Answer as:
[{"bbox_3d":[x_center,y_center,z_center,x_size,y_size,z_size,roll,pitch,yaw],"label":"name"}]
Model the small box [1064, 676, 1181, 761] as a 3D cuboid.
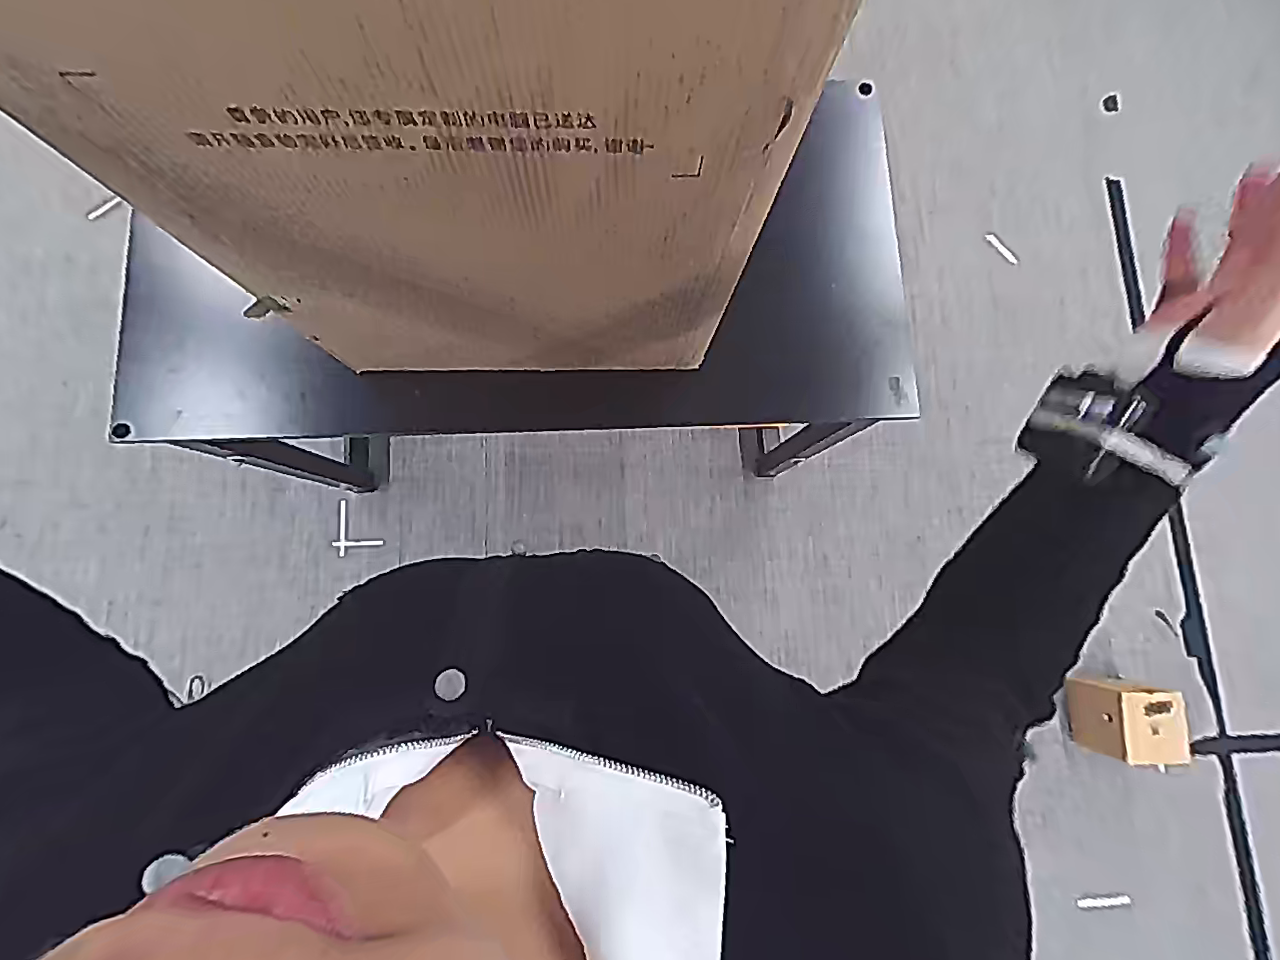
[{"bbox_3d":[1.281,0.632,1.450,0.168,0.176,0.179,1,83,-3],"label":"small box"}]
